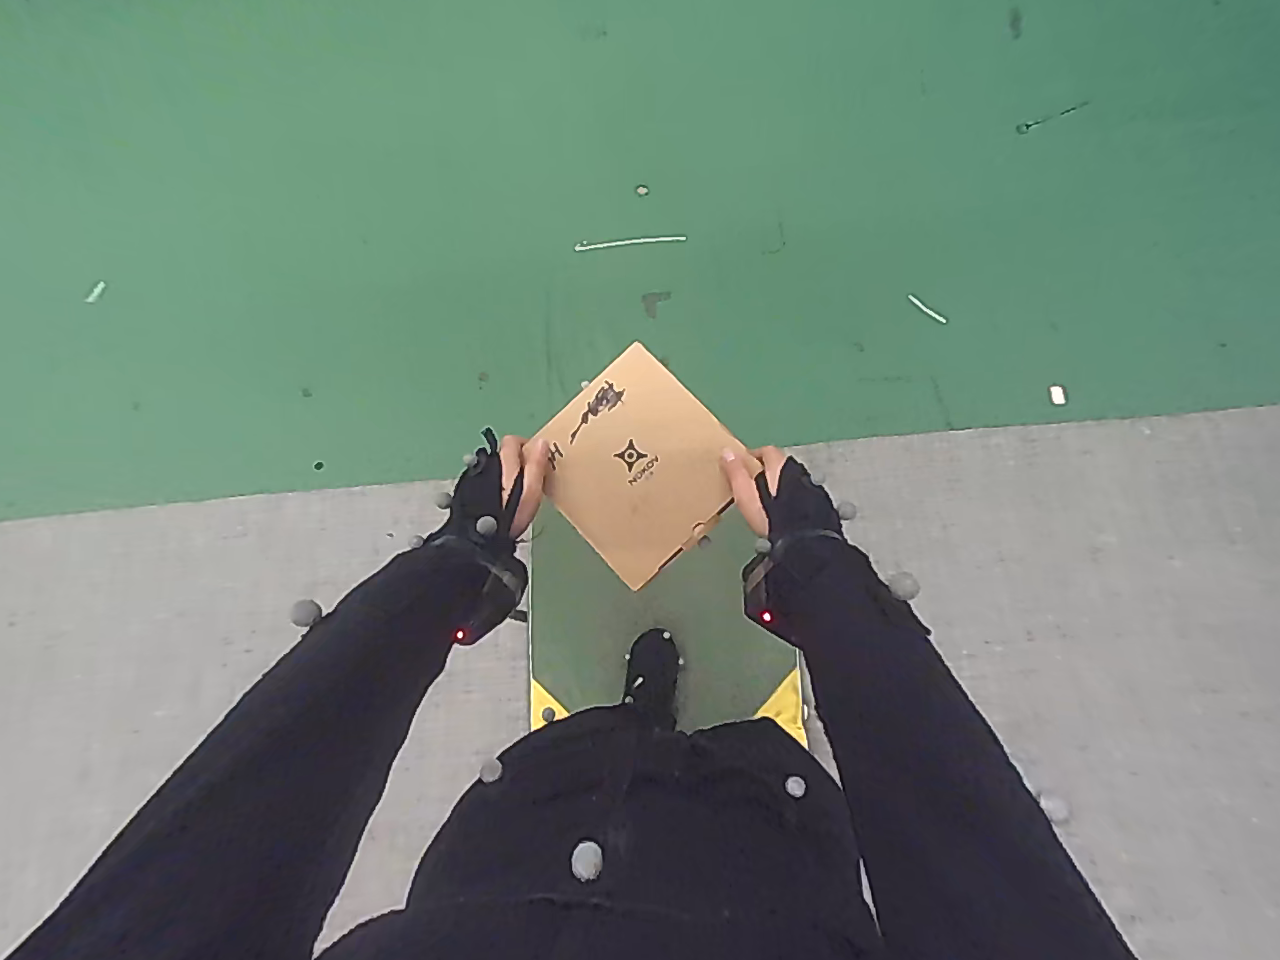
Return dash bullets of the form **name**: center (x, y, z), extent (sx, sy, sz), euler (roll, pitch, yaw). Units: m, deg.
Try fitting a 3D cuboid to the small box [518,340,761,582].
- **small box**: center (0.004, -0.012, 0.588), extent (0.168, 0.176, 0.179), euler (-43, 82, -2)
